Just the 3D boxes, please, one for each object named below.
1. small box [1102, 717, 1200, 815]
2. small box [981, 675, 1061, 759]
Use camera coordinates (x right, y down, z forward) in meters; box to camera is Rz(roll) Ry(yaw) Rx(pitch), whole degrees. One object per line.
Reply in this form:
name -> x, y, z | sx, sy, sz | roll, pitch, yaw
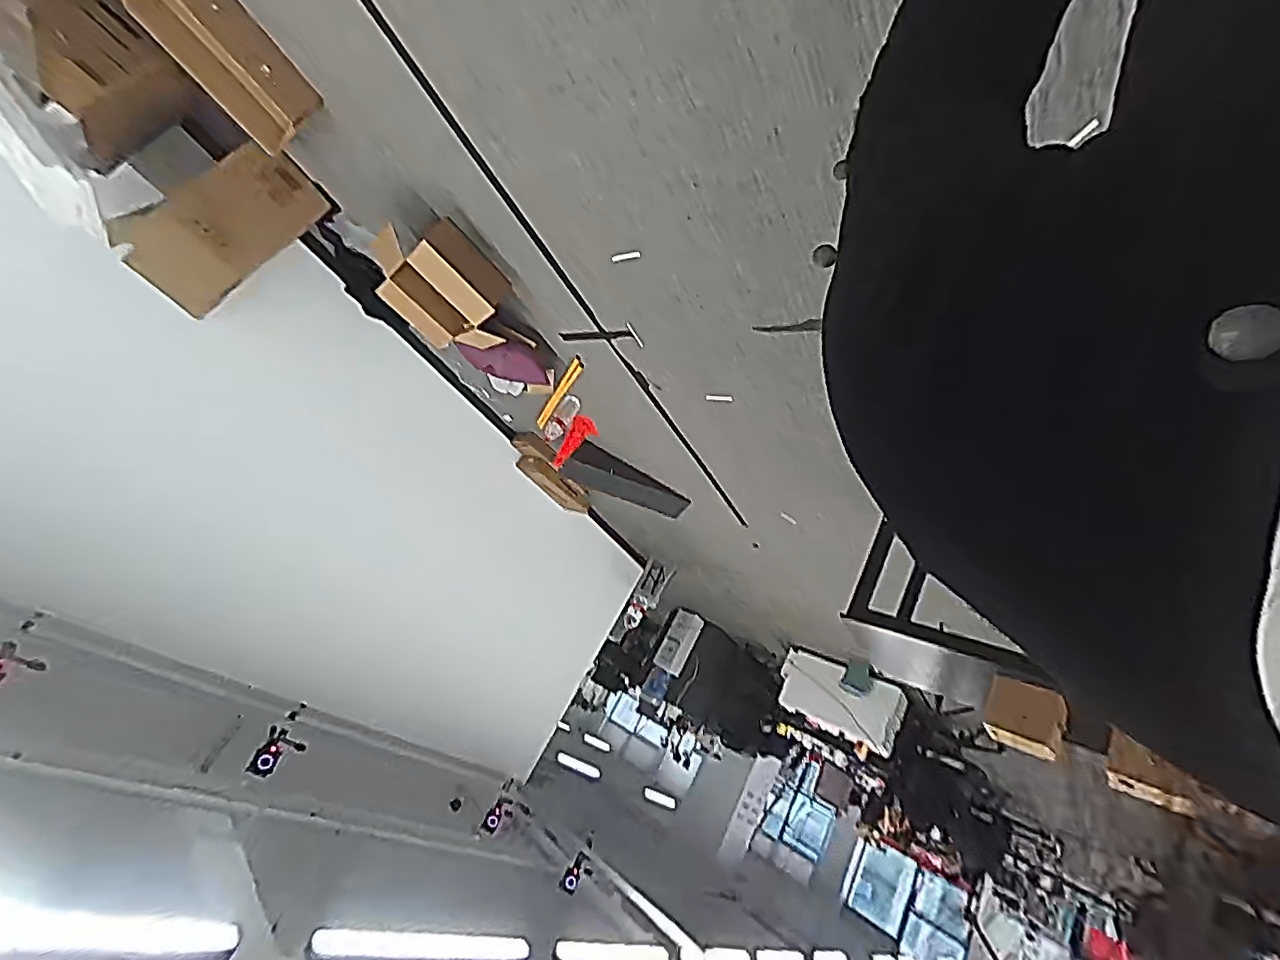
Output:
small box -> 1.415, 0.783, 1.500 | 0.179, 0.176, 0.168 | 6, 149, 47
small box -> 1.202, 0.739, 1.699 | 0.179, 0.176, 0.168 | 7, 149, 47
